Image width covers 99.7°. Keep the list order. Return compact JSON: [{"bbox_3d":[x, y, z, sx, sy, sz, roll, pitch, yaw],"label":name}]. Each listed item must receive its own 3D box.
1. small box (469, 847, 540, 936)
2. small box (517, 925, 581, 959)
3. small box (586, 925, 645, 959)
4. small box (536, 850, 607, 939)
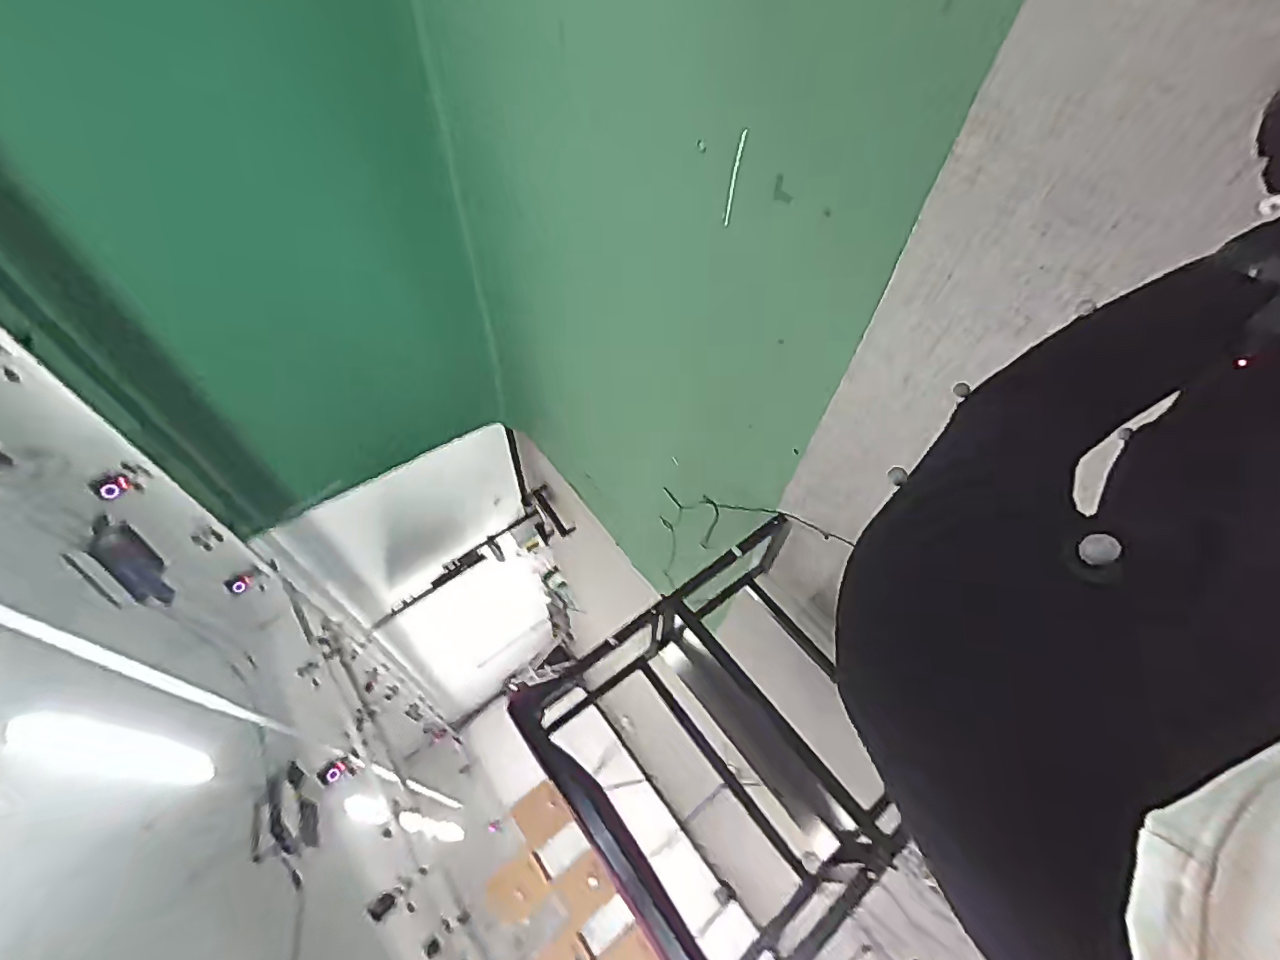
[{"bbox_3d":[-0.433,1.343,1.776,0.168,0.176,0.179,47,155,25],"label":"small box"},{"bbox_3d":[-0.277,1.518,1.668,0.168,0.176,0.179,48,154,24],"label":"small box"},{"bbox_3d":[-0.068,1.524,1.670,0.168,0.176,0.179,46,155,27],"label":"small box"},{"bbox_3d":[-0.222,1.359,1.783,0.168,0.176,0.179,47,153,25],"label":"small box"}]
